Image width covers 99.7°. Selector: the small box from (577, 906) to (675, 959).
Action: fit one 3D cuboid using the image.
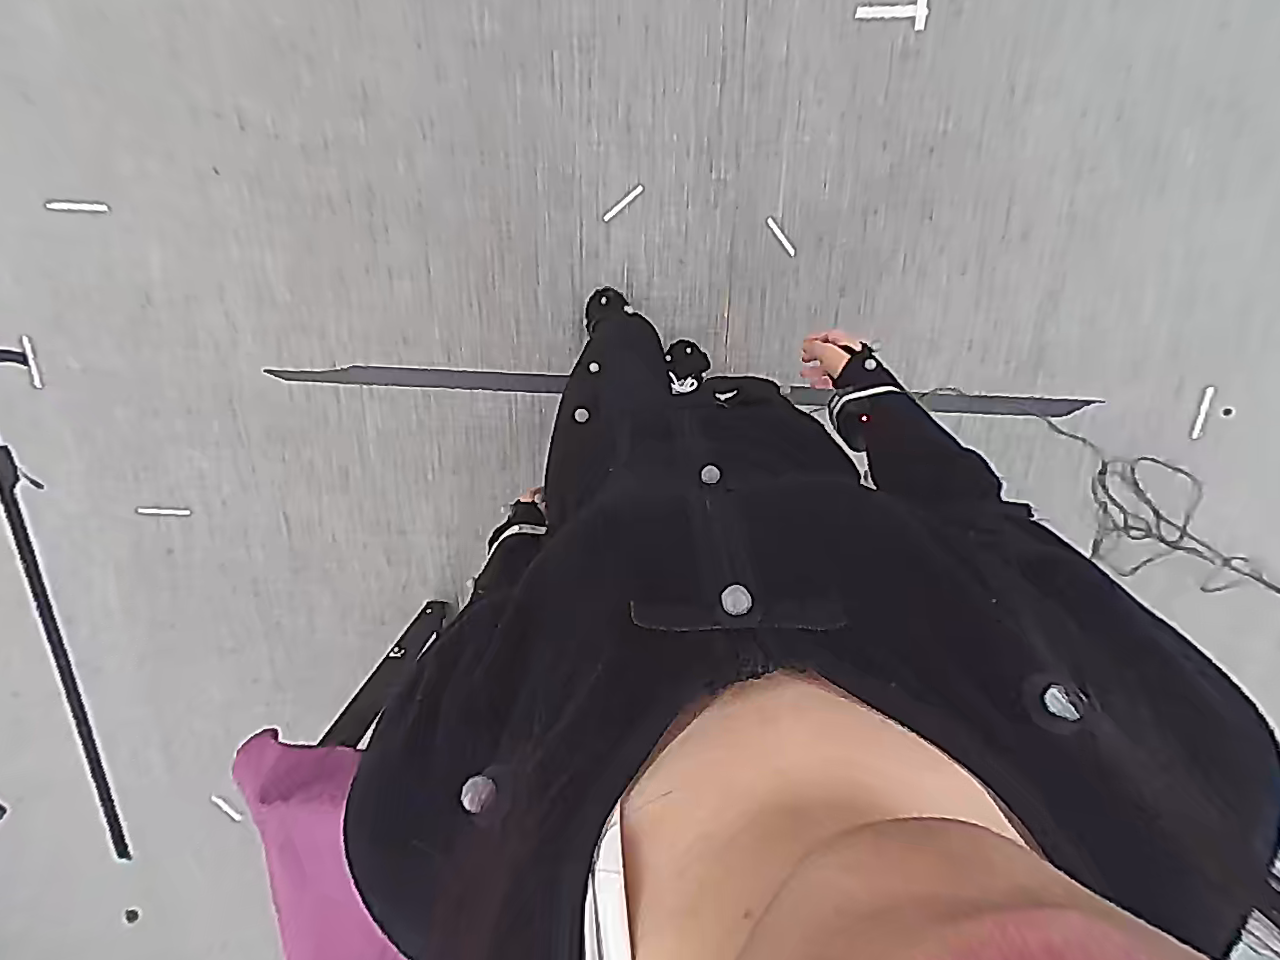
[{"bbox_3d":[-0.027,0.867,0.916,0.168,0.176,0.179,2,107,1],"label":"small box"}]
